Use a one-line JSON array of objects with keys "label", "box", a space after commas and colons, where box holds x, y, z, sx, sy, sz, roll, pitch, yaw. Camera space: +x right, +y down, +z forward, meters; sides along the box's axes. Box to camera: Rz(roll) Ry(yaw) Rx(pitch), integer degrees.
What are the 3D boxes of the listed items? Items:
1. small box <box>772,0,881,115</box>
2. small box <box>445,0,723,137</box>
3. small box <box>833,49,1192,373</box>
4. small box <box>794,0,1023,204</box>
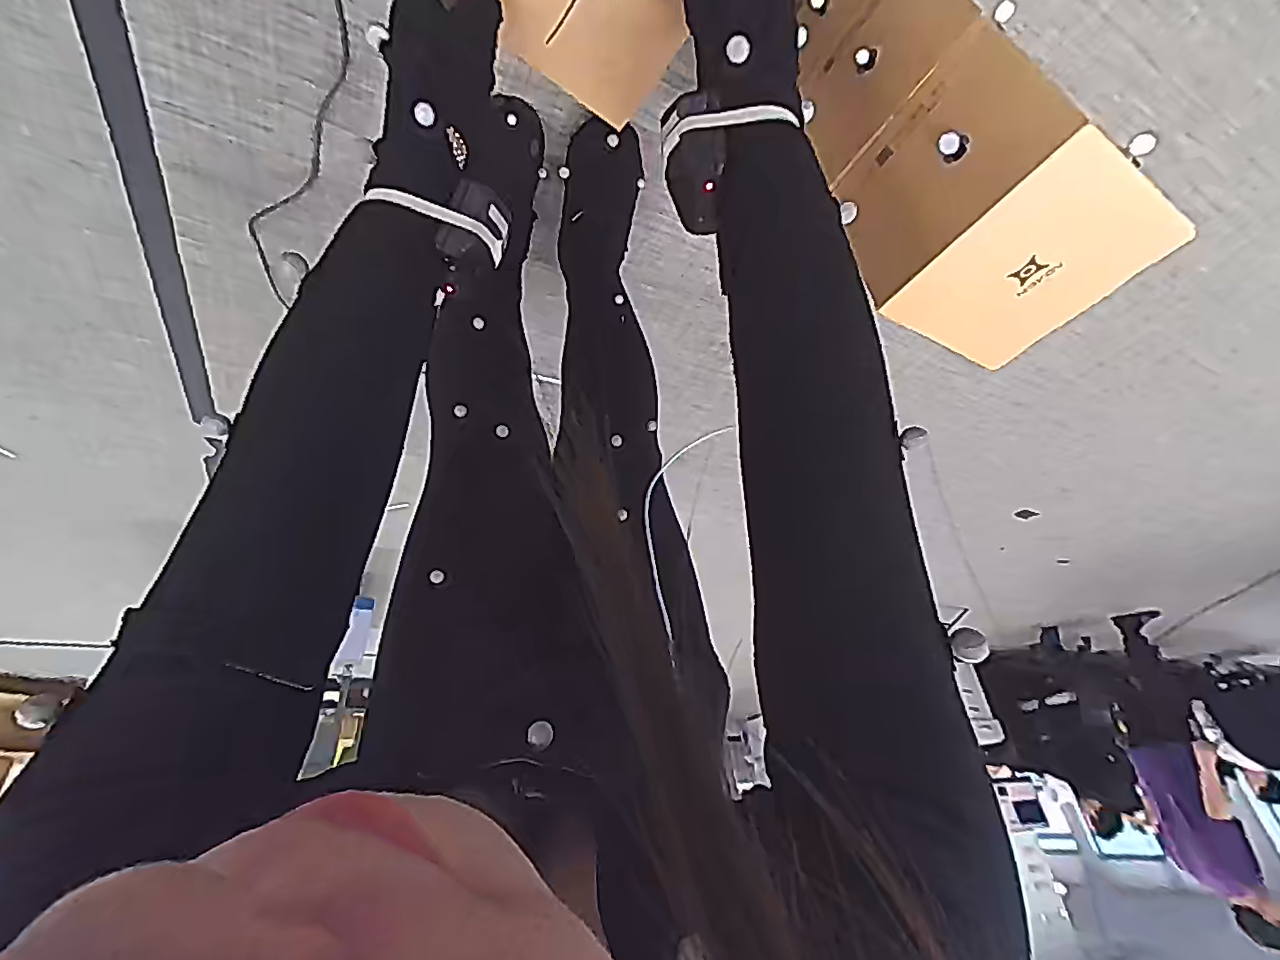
[{"label": "small box", "box": [0.284, -0.507, 0.647, 0.179, 0.176, 0.168, 13, 145, -27]}, {"label": "small box", "box": [-0.030, -0.426, 0.409, 0.168, 0.176, 0.179, 18, 148, -33]}, {"label": "small box", "box": [0.303, -0.229, 0.475, 0.179, 0.176, 0.168, 12, 144, -27]}, {"label": "small box", "box": [0.287, -0.368, 0.558, 0.179, 0.176, 0.168, 13, 144, -29]}]
